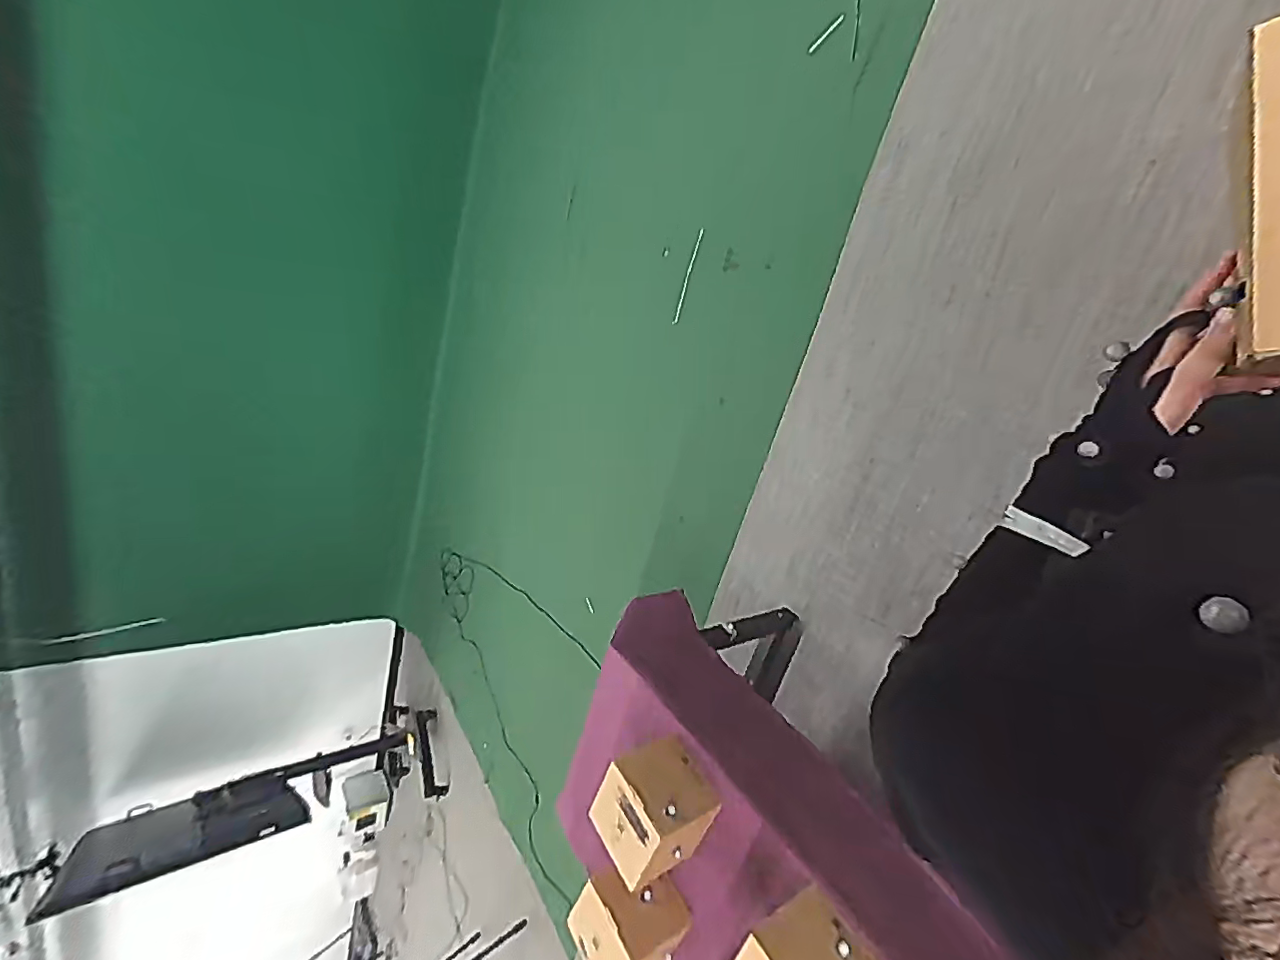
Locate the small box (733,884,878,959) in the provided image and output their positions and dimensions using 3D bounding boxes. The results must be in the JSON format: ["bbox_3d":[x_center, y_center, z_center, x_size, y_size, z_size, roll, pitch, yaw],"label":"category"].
[{"bbox_3d":[0.249,0.779,0.825,0.168,0.176,0.179,39,118,44],"label":"small box"}]

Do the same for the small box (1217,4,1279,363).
[{"bbox_3d":[0.444,-0.169,0.299,0.168,0.176,0.179,0,95,45],"label":"small box"}]

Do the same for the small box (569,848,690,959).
[{"bbox_3d":[-0.020,0.933,1.150,0.168,0.176,0.179,45,122,42],"label":"small box"}]
